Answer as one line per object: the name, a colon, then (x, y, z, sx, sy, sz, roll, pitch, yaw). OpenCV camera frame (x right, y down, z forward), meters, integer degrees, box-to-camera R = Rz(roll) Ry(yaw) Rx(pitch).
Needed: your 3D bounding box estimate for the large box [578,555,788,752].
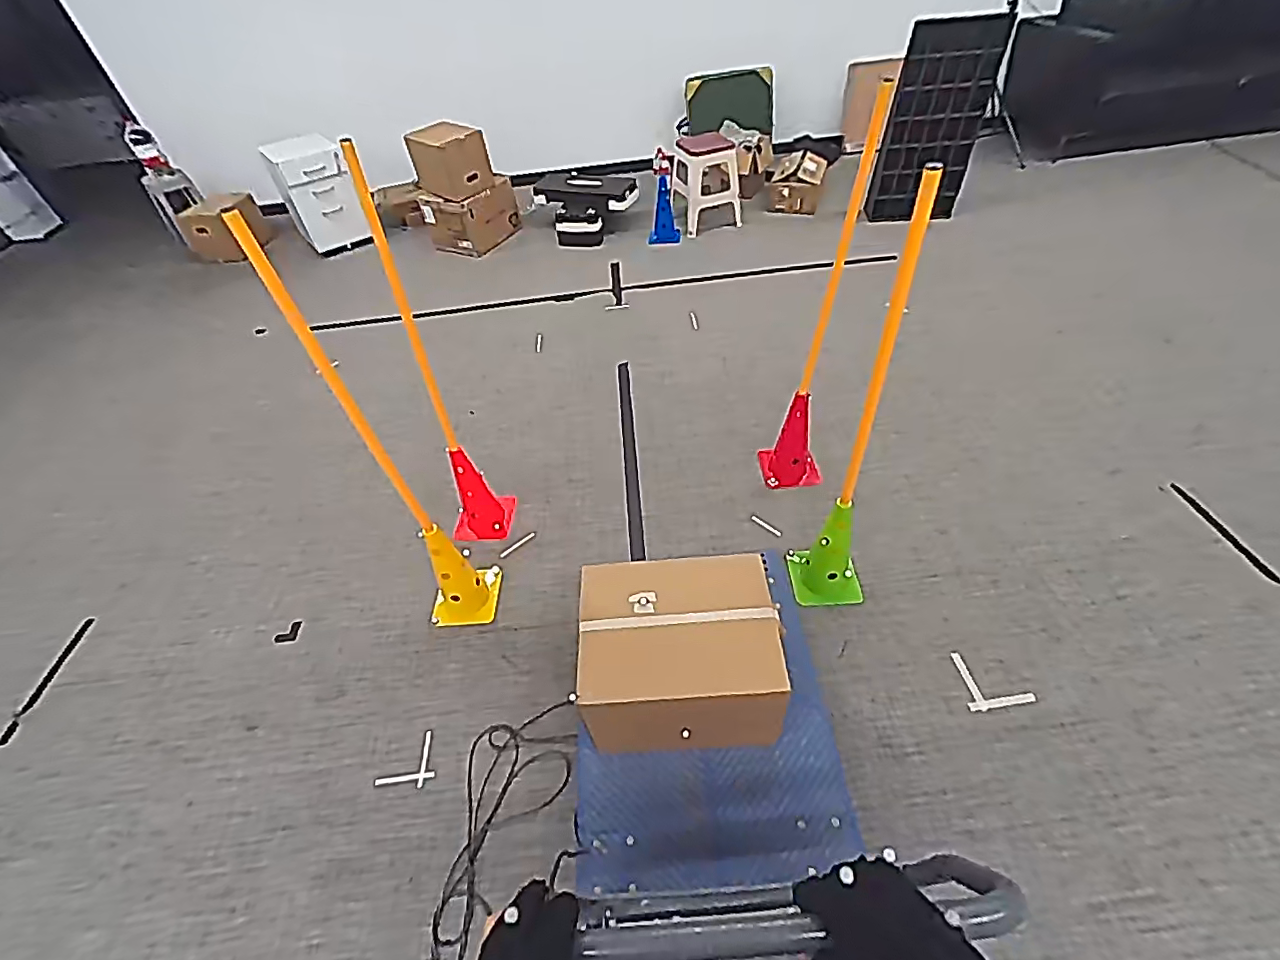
large box: (0.089, 0.398, 1.224, 0.408, 0.320, 0.320, -6, 47, 3)

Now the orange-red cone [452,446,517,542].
orange-red cone: (-0.573, 0.025, 1.856, 0.198, 0.360, 0.199, -1, 46, 5)

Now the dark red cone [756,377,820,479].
dark red cone: (0.540, -0.188, 1.894, 0.201, 0.394, 0.202, -6, 47, -1)

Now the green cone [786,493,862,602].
green cone: (0.561, 0.176, 1.573, 0.202, 0.368, 0.200, -3, 47, 2)
